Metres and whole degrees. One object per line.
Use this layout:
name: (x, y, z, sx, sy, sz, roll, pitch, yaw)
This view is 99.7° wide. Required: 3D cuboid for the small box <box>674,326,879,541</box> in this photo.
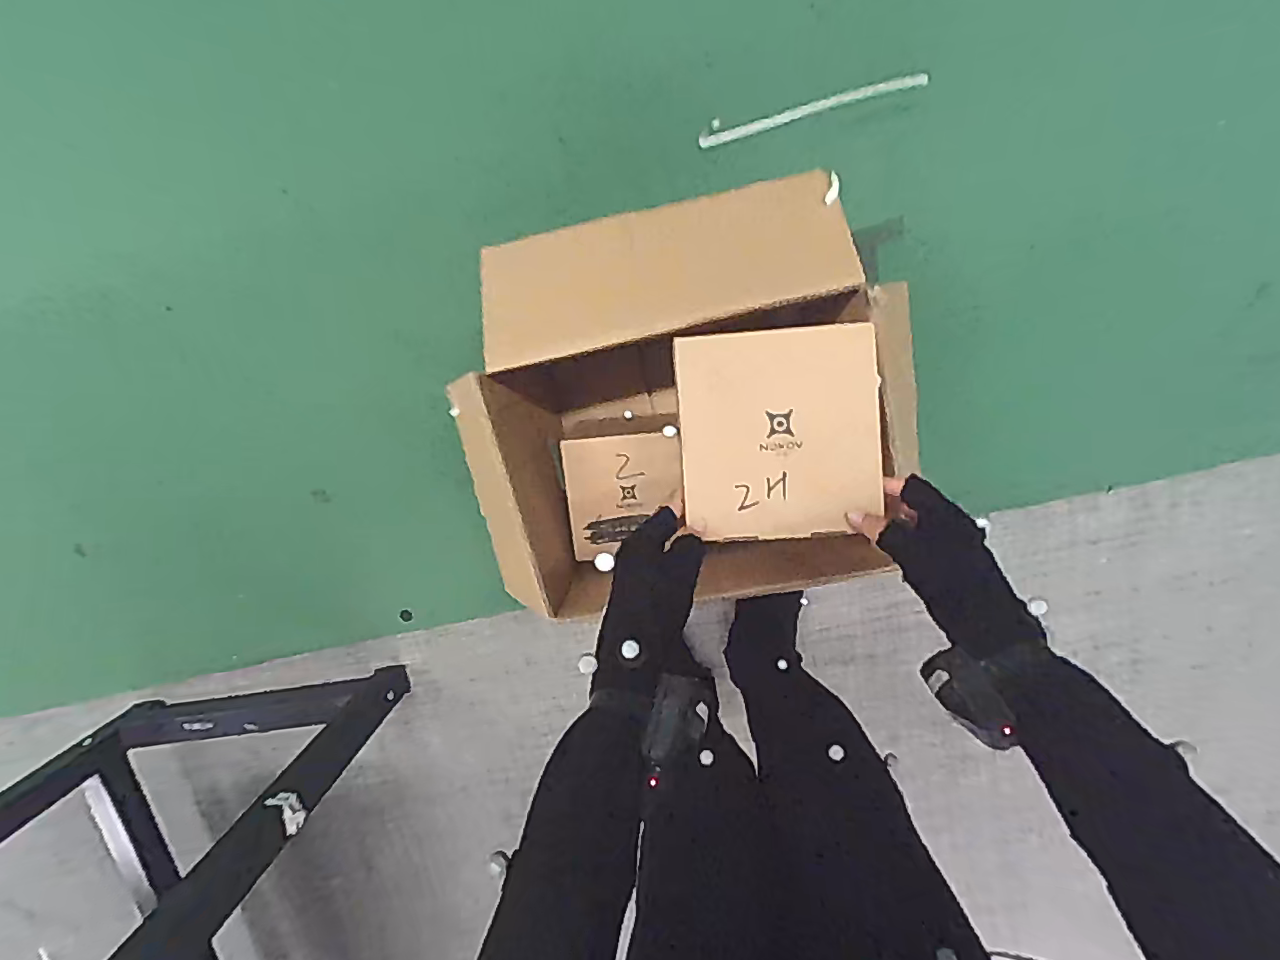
small box: (0.120, -0.041, 0.537, 0.168, 0.176, 0.179, -4, 93, 4)
